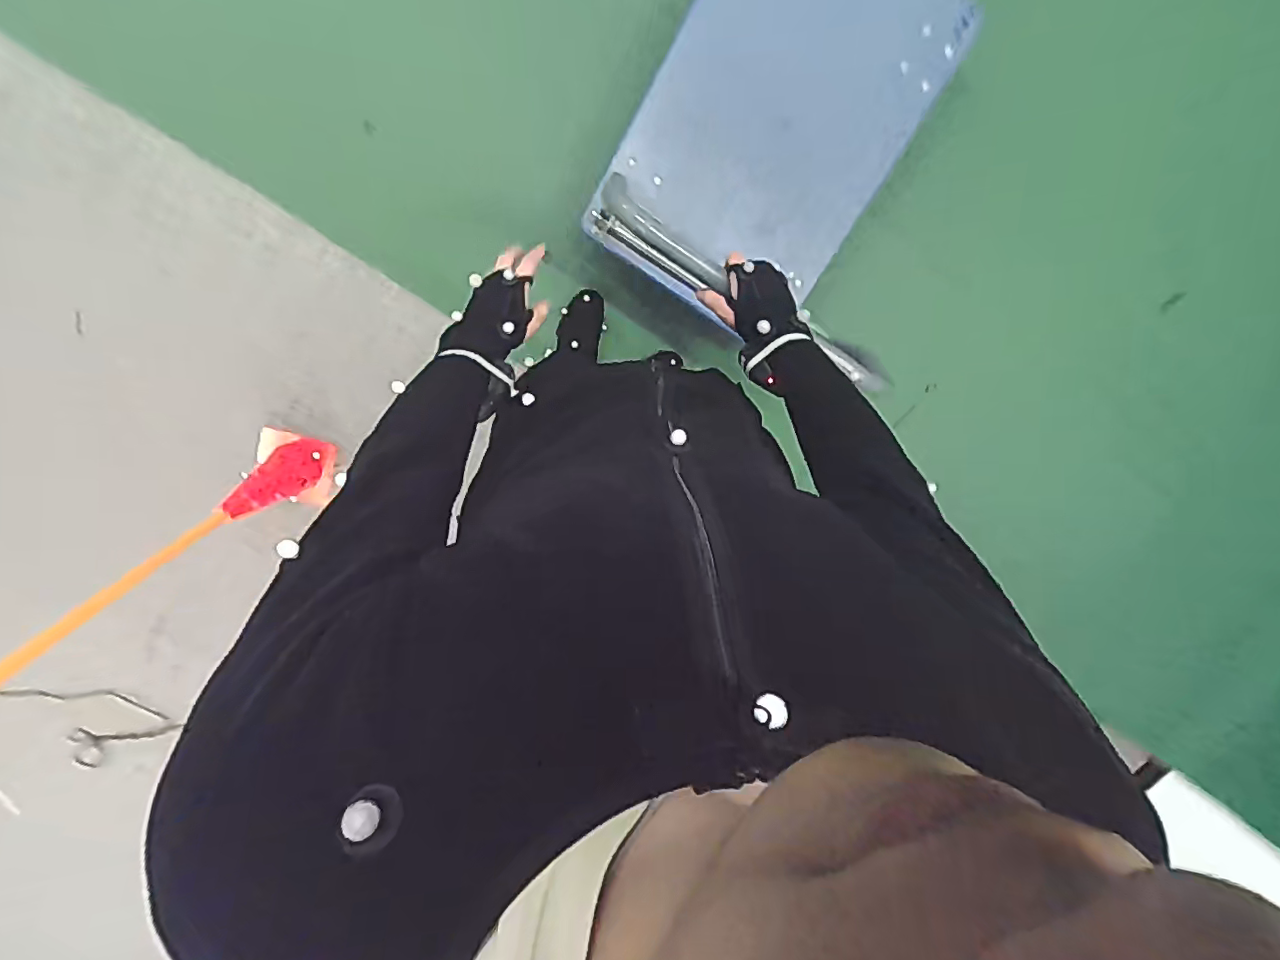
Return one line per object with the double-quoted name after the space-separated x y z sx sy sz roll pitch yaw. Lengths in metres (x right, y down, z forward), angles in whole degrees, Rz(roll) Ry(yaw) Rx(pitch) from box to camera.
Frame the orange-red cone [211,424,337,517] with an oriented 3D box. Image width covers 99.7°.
-0.963 0.010 1.375 0.199 0.360 0.198 18 106 -11 "orange-red cone"
